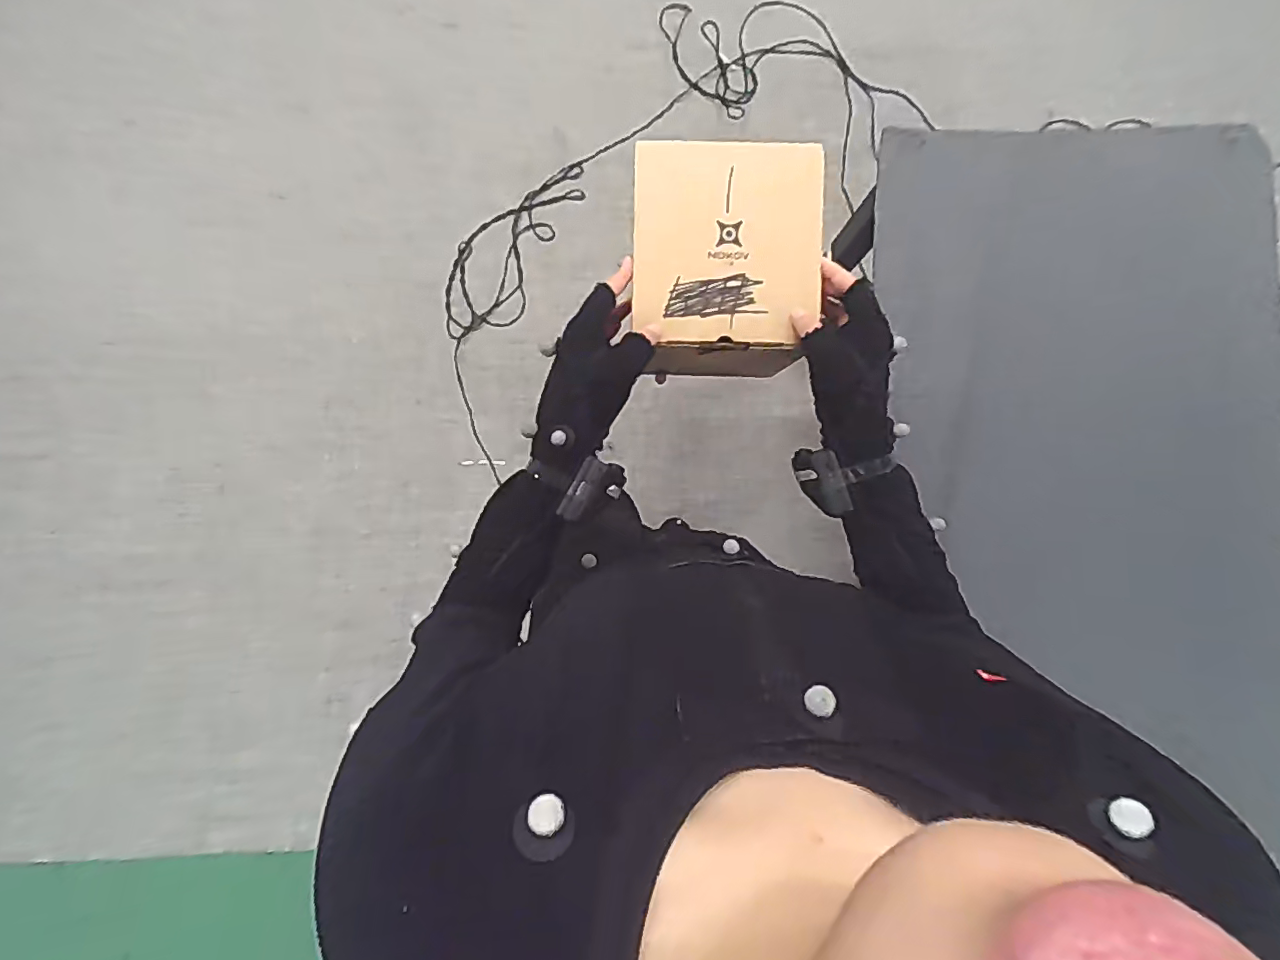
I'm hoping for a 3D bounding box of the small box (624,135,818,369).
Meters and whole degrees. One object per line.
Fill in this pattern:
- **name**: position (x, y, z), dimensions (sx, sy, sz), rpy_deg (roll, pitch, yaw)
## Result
- **small box**: position (0.070, -0.212, 0.548), dimensions (0.168, 0.176, 0.179), rpy_deg (1, 91, -1)
